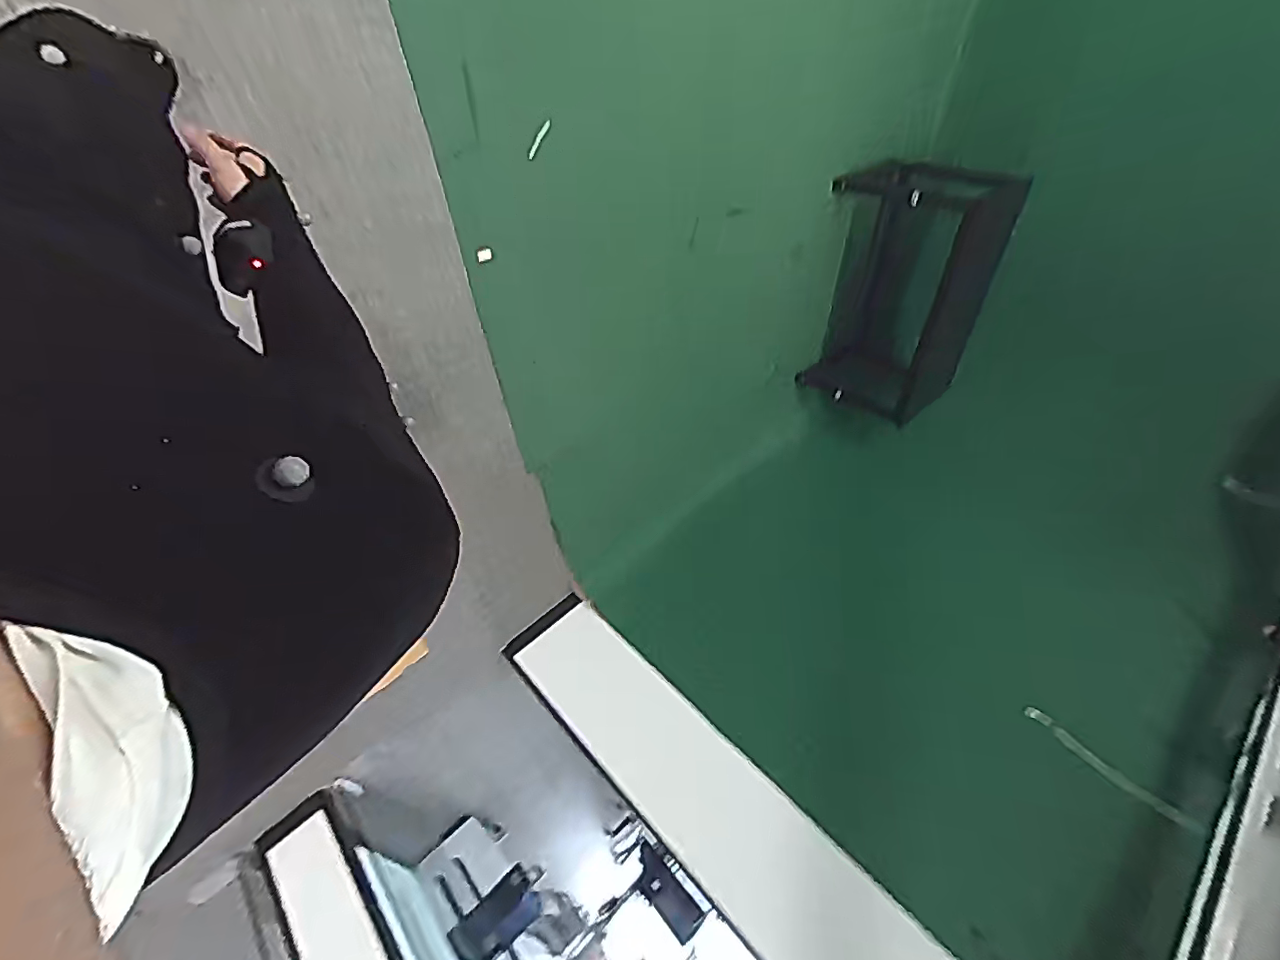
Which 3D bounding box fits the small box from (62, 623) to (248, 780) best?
[{"bbox_3d":[-0.851,0.381,0.951,0.168,0.176,0.179,-41,143,-20],"label":"small box"}]
